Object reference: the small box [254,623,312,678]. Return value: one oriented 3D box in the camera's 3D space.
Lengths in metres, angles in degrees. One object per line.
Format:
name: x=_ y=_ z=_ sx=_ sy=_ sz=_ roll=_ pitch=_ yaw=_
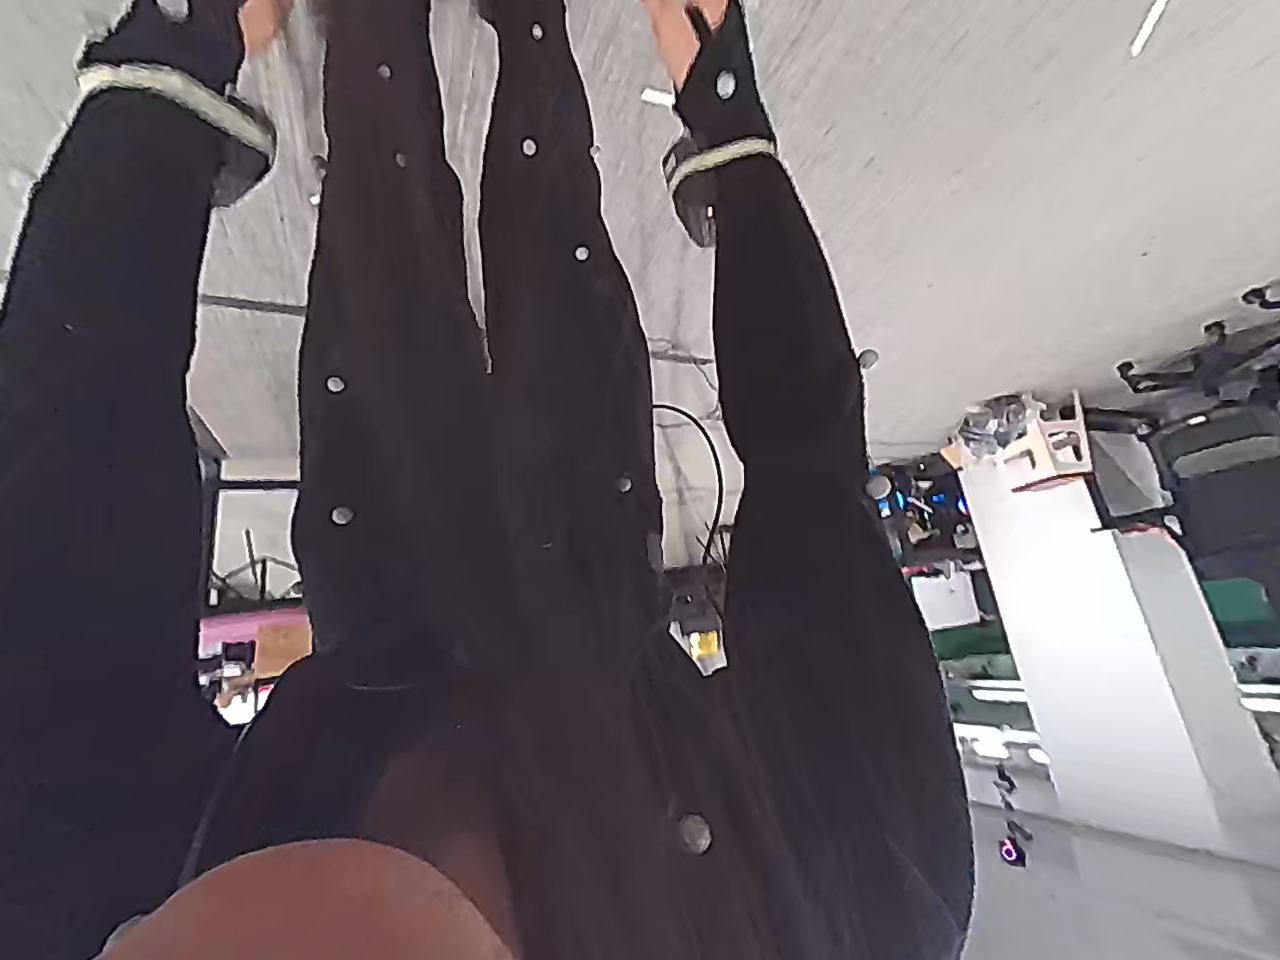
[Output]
small box: x=-1.280 y=0.610 z=1.942 sx=0.168 sy=0.176 sz=0.179 roll=1 pitch=162 yaw=-32
